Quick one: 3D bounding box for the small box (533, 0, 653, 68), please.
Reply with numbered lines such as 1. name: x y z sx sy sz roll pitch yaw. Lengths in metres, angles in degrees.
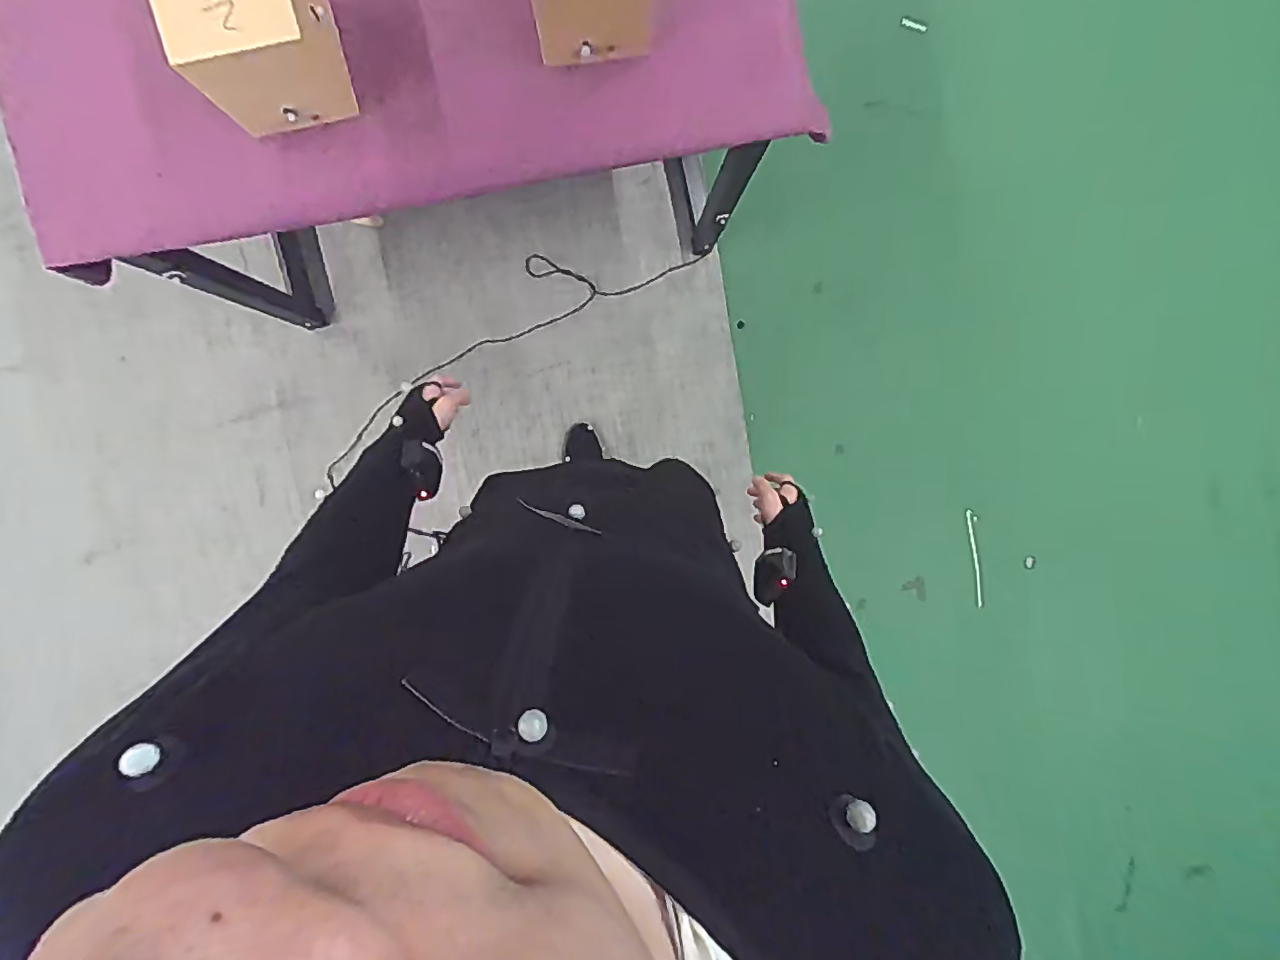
1. small box: -0.076 -0.731 0.755 0.168 0.176 0.179 -10 94 -1
